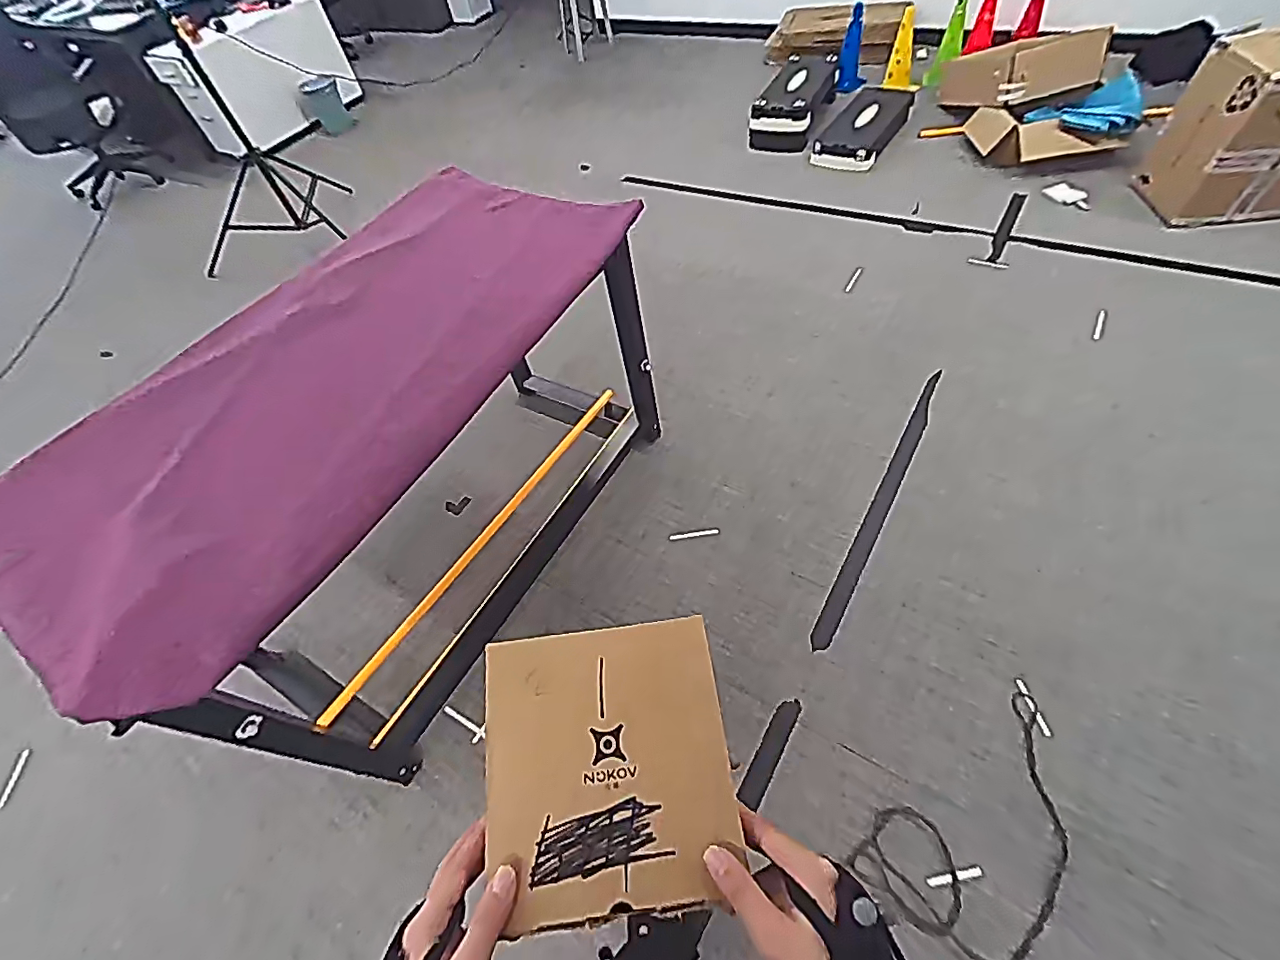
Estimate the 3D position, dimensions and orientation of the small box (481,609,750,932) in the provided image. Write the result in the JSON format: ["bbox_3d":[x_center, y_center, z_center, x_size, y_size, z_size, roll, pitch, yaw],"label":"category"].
[{"bbox_3d":[-0.022,0.217,0.429,0.168,0.176,0.179,-7,62,-3],"label":"small box"}]
